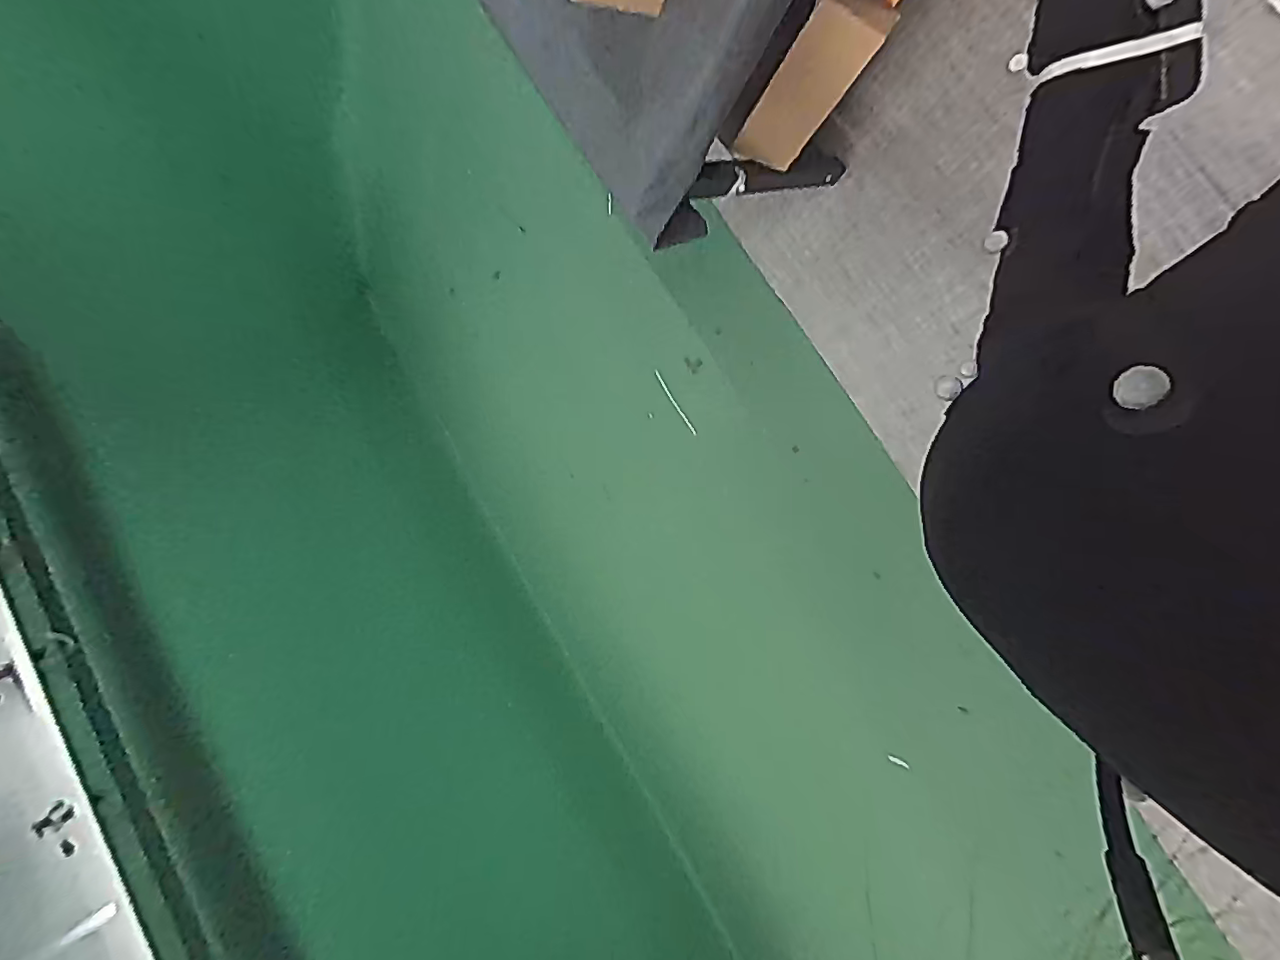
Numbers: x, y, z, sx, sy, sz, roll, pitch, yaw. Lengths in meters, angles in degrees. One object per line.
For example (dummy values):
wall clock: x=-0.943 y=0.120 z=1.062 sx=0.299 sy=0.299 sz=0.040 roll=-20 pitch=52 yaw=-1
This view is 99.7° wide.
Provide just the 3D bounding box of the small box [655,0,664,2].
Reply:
small box: x=-0.035 y=-0.809 z=0.749 sx=0.179 sy=0.176 sz=0.168 roll=55 pitch=146 yaw=12
